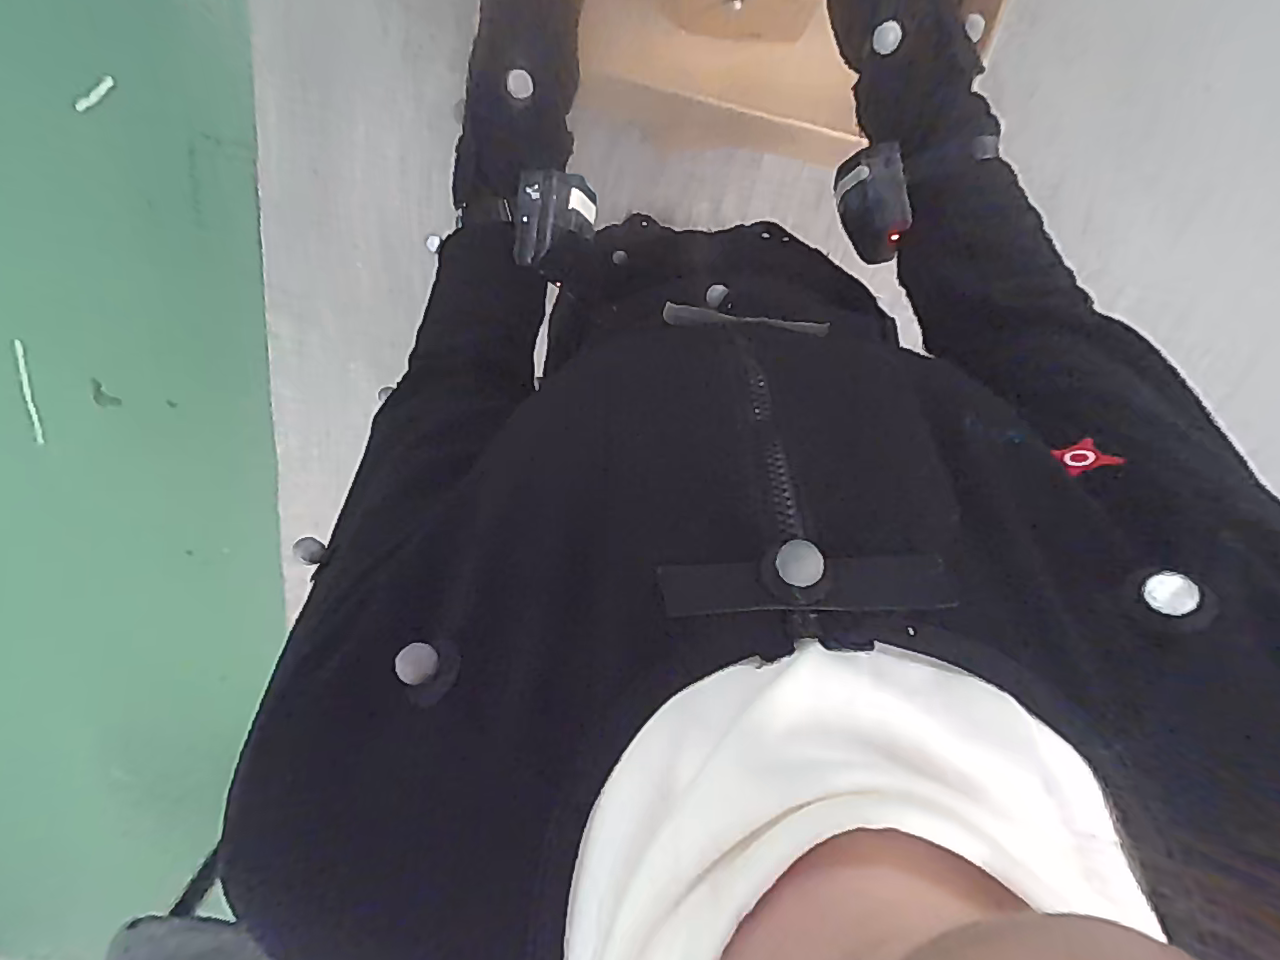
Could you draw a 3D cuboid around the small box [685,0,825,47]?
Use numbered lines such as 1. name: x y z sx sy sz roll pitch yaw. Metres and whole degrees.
1. small box: 0.146 -0.665 0.651 0.168 0.176 0.179 8 114 1
